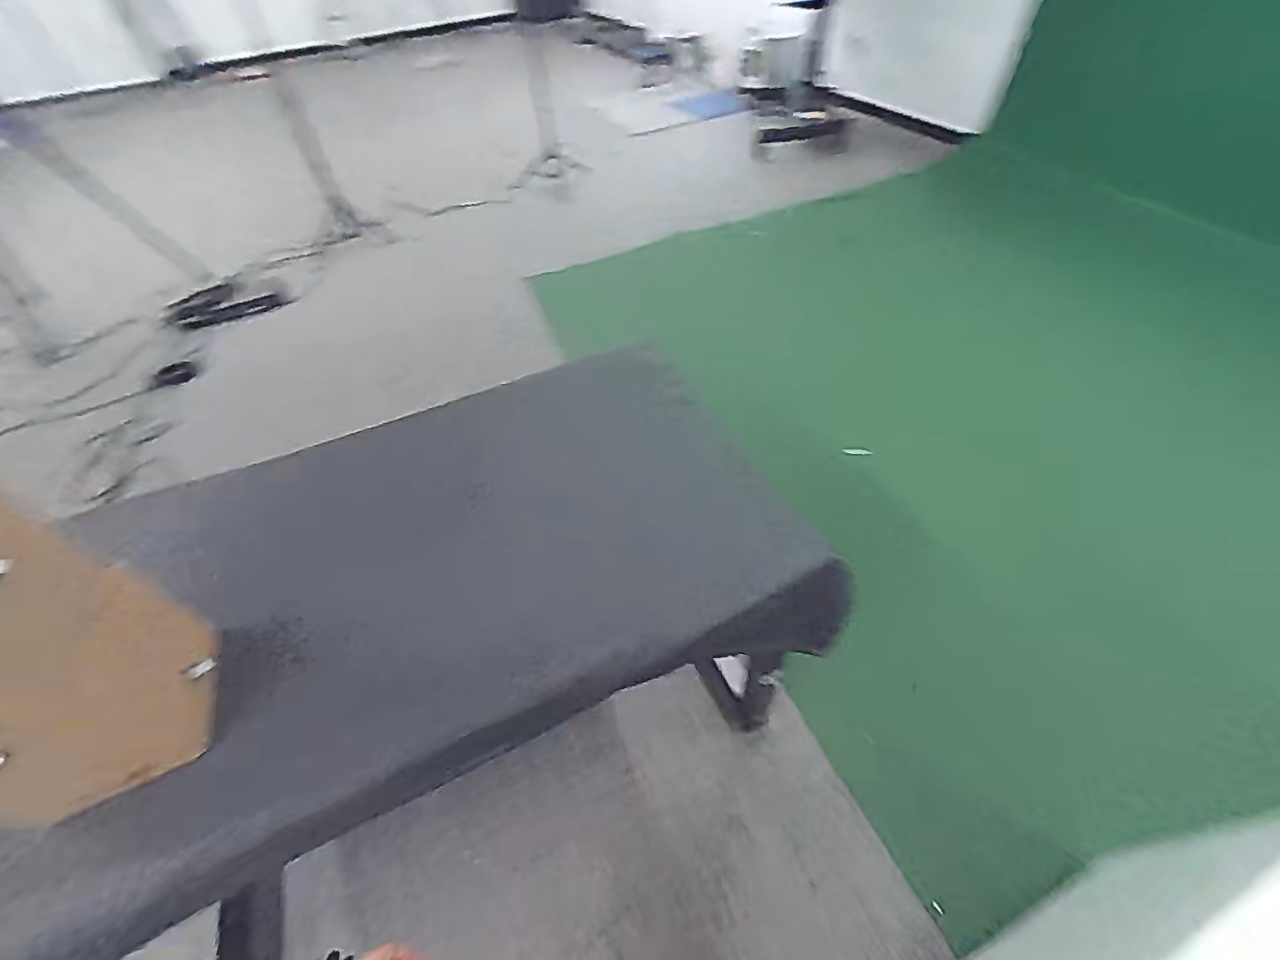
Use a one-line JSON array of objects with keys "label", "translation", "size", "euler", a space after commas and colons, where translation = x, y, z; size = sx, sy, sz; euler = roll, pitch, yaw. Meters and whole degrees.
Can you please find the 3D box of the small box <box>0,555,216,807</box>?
[{"label": "small box", "translation": [-0.610, 0.220, 0.597], "size": [0.168, 0.176, 0.179], "euler": [-22, 50, -15]}]
